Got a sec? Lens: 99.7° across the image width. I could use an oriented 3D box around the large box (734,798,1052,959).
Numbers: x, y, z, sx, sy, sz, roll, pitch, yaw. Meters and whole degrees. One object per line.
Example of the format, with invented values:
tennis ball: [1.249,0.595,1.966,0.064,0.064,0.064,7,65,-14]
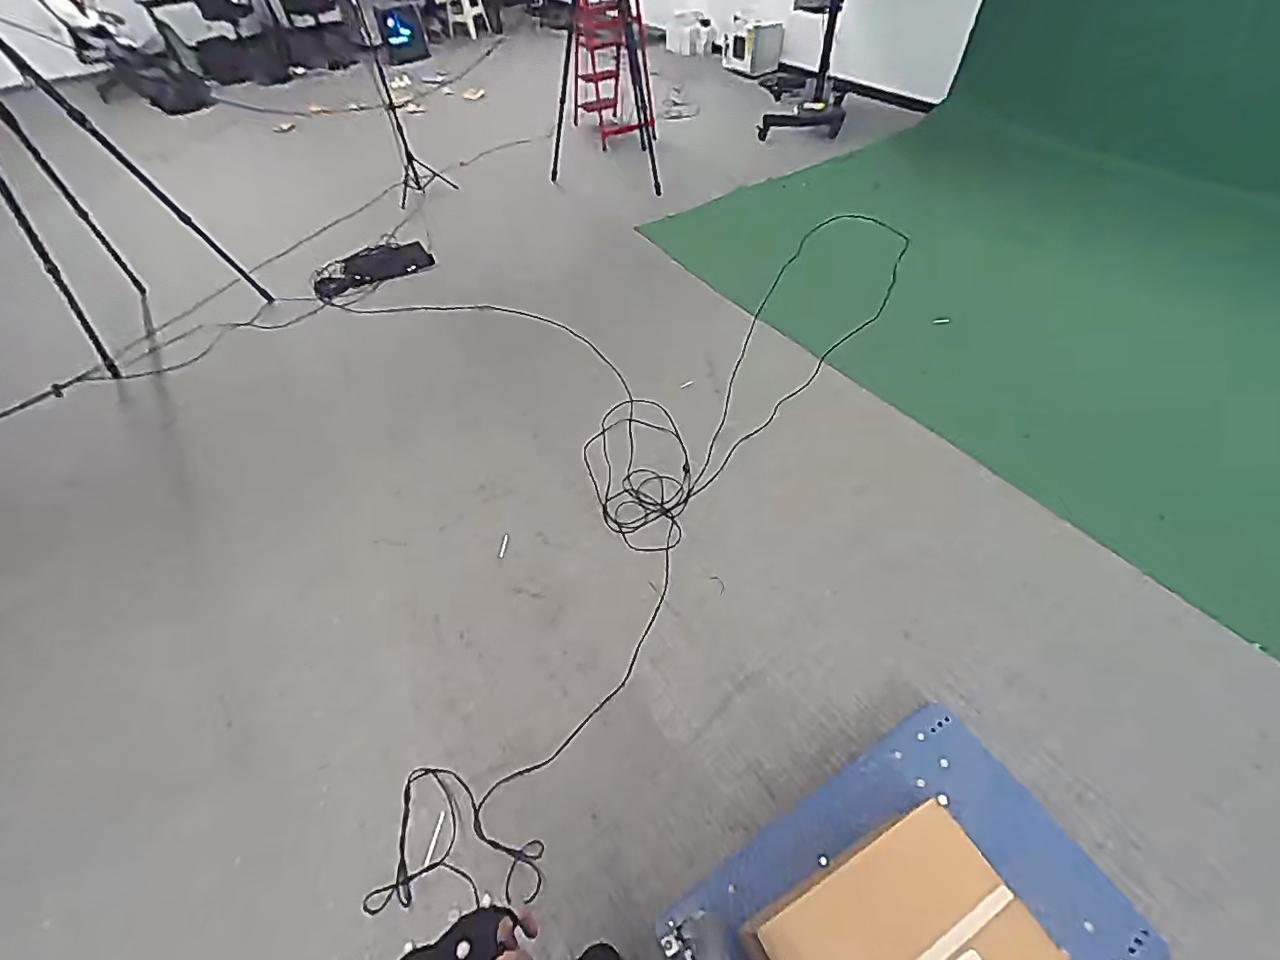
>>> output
large box: [0.428,0.859,0.964,0.408,0.320,0.320,-23,54,-17]
